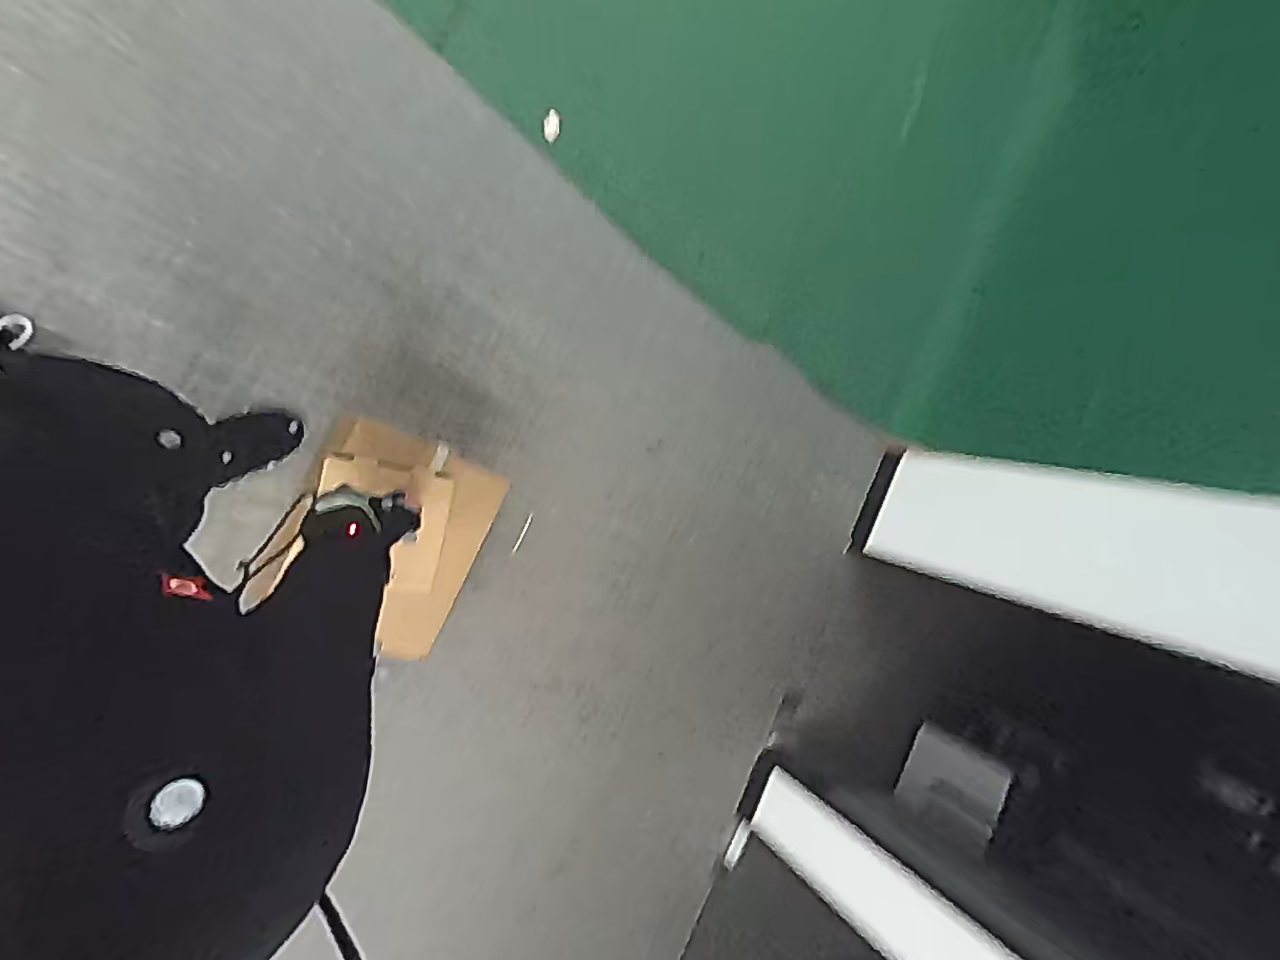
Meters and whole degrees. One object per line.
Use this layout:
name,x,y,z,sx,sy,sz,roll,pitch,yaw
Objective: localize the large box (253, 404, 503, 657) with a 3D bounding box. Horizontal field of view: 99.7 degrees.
large box,-0.555,0.094,1.143,0.320,0.320,0.408,29,85,-35
